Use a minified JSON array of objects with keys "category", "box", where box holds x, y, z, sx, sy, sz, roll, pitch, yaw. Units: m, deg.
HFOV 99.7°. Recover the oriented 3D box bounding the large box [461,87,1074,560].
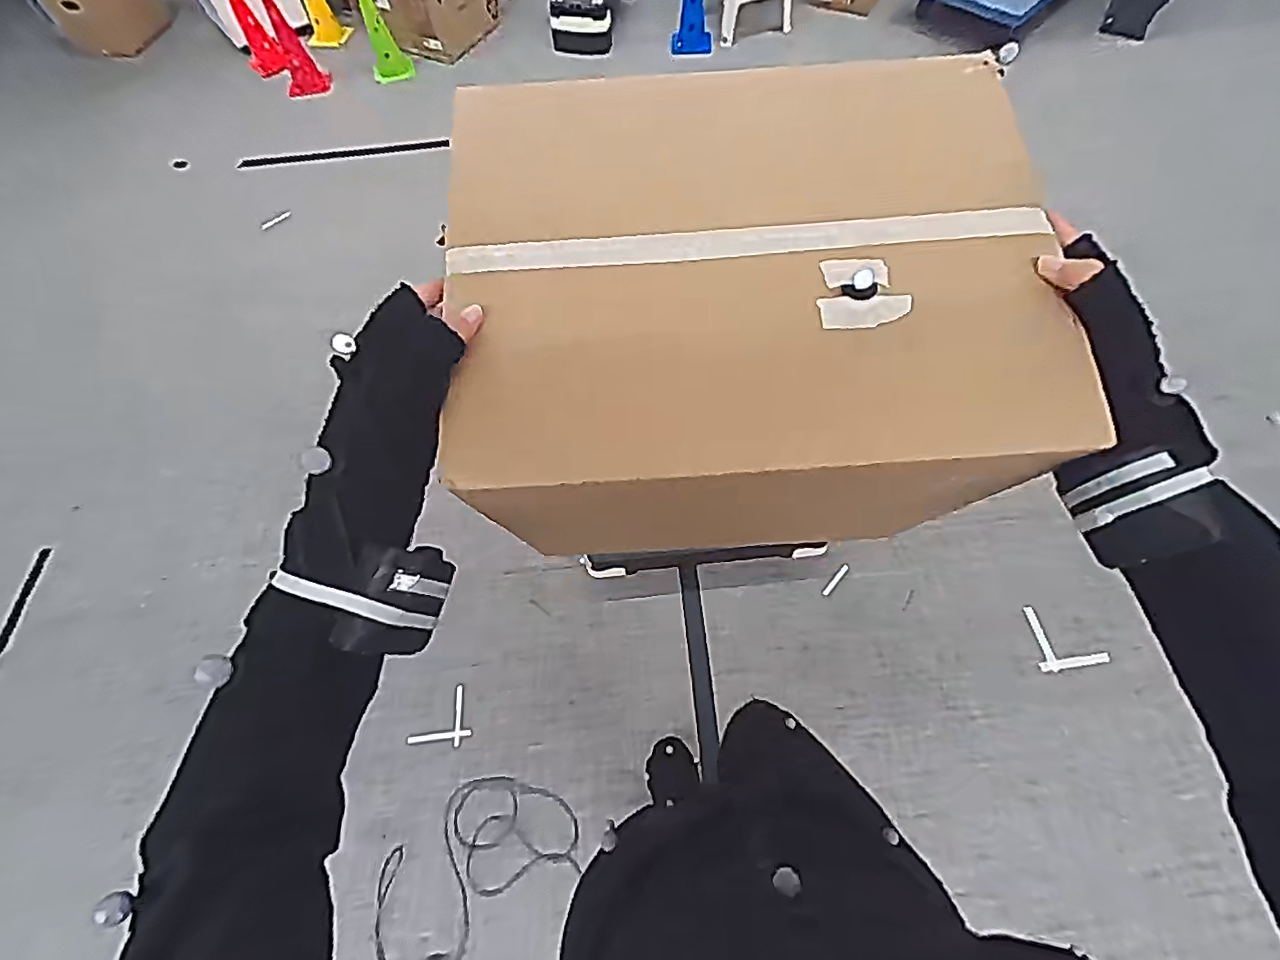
[{"category":"large box","box":[0.073,-0.110,0.529,0.408,0.320,0.320,-4,74,0]}]
